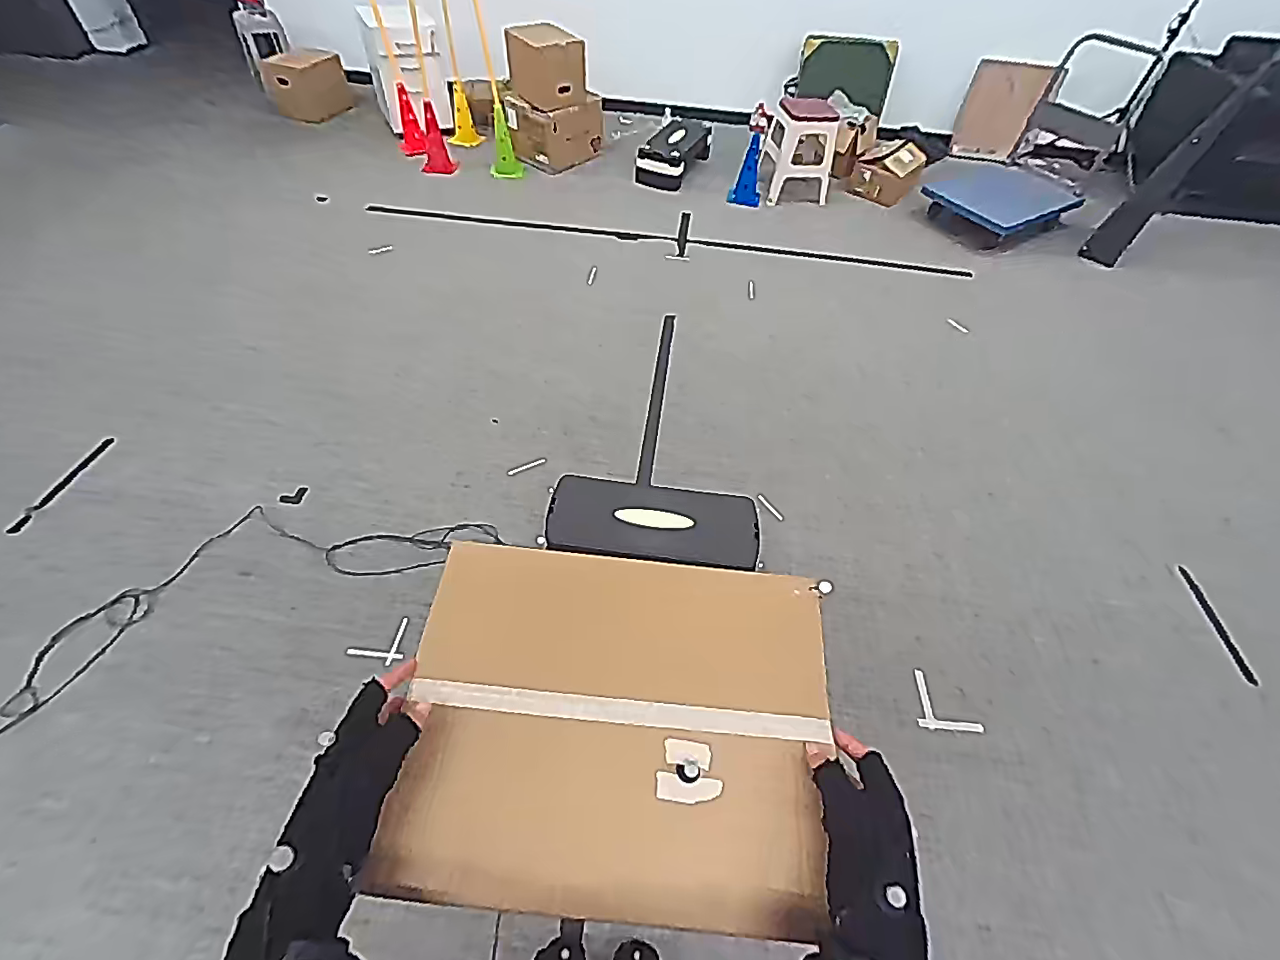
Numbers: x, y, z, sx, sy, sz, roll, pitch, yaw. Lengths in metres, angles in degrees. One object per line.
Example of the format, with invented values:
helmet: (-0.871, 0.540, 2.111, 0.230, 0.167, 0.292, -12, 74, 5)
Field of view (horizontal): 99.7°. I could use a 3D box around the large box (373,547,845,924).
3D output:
large box: (-0.025, 0.301, 0.651, 0.408, 0.320, 0.320, 6, 58, 0)
